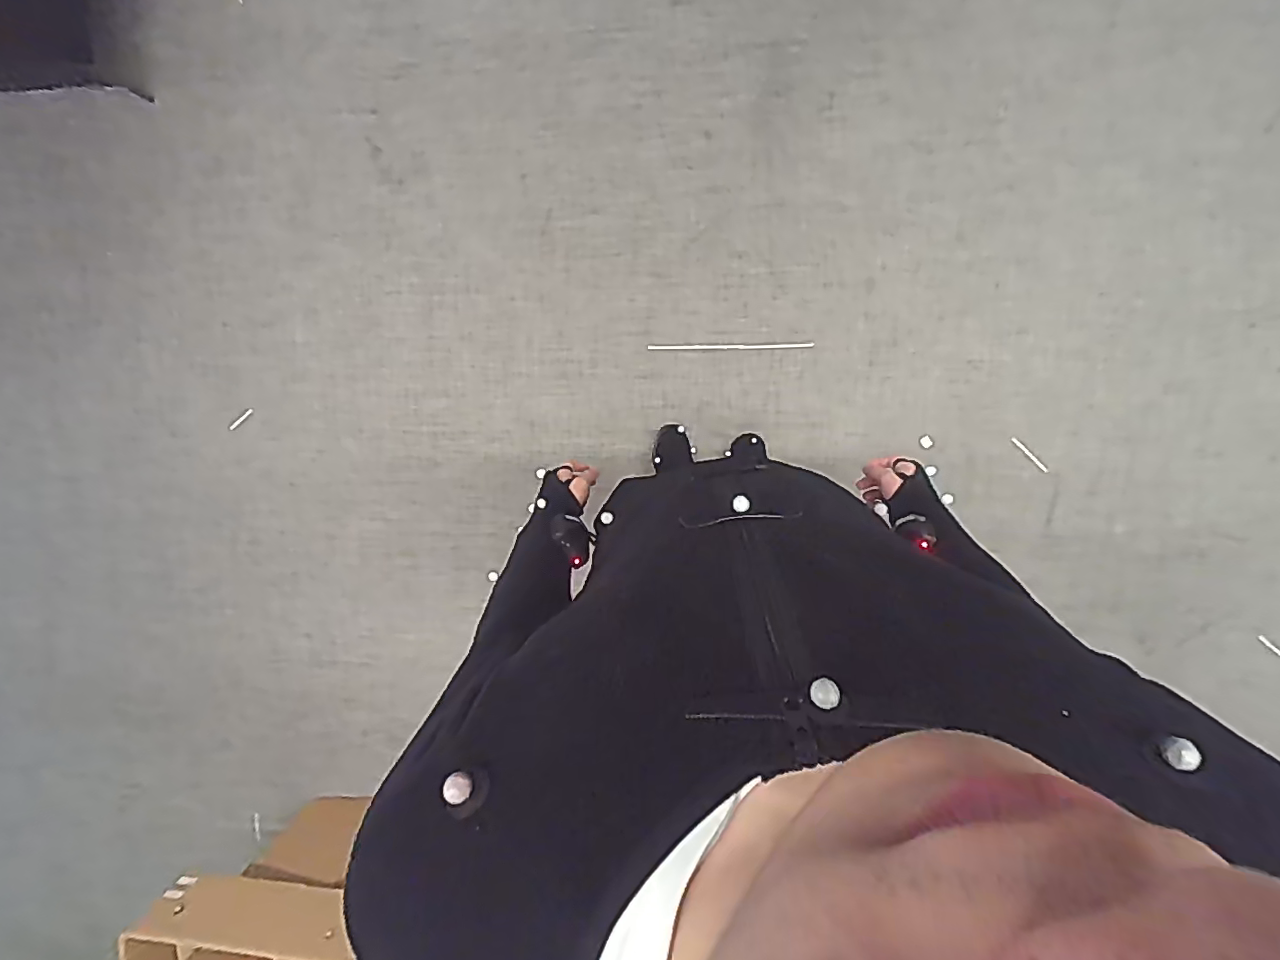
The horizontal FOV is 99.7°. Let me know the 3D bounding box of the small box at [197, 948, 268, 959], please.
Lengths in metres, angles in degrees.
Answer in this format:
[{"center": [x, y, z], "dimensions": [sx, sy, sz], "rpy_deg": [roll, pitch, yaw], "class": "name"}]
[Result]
[{"center": [-1.072, 1.323, 1.349], "dimensions": [0.179, 0.176, 0.168], "rpy_deg": [3, 96, 3], "class": "small box"}]
